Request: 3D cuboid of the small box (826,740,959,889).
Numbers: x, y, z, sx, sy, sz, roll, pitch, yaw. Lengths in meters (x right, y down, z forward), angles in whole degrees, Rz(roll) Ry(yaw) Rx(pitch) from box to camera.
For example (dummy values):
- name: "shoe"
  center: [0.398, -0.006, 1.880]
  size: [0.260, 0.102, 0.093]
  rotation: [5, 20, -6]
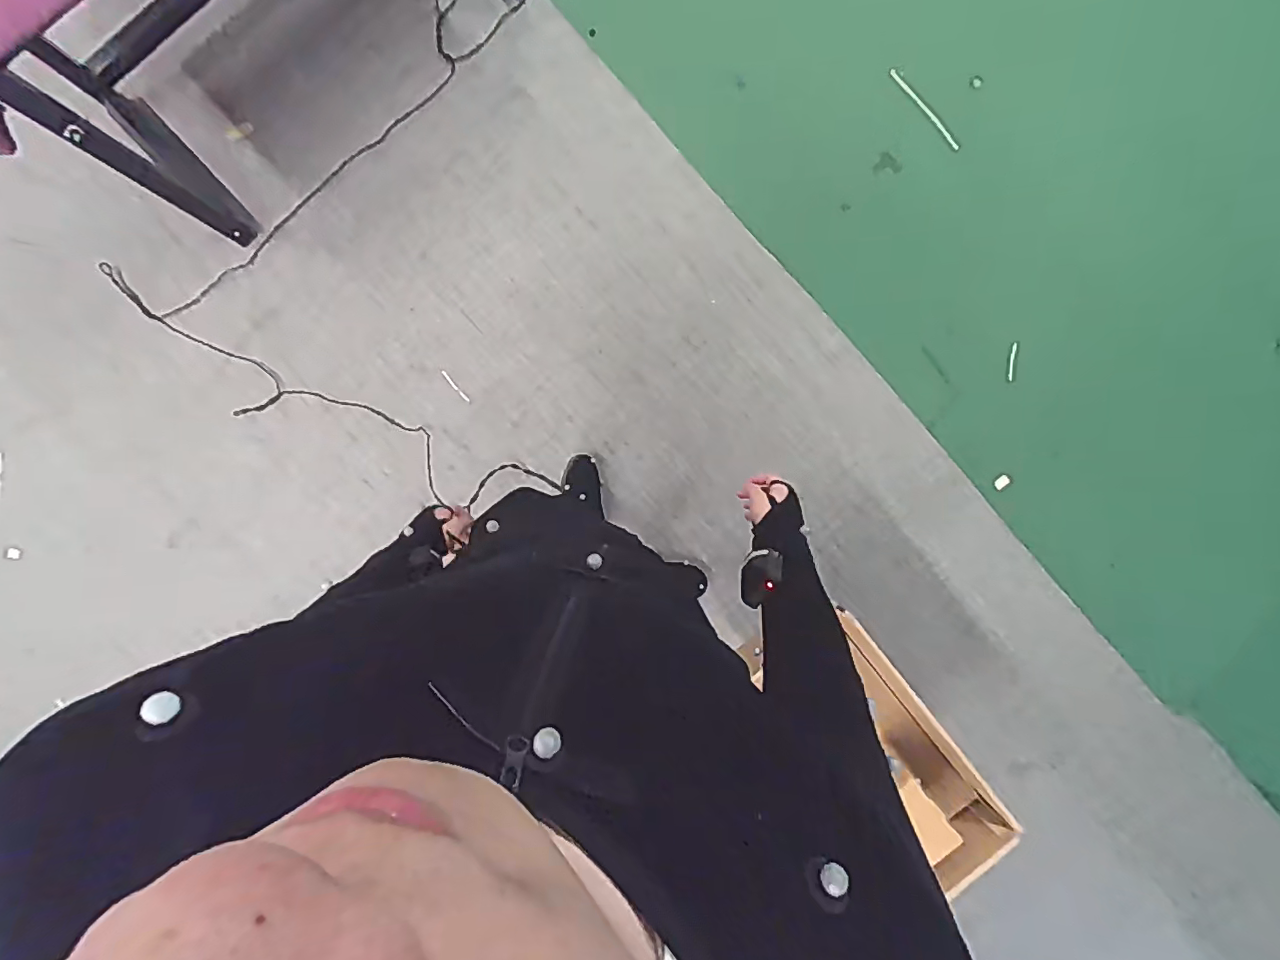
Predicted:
- name: "small box"
  center: [0.528, 0.711, 1.169]
  size: [0.179, 0.176, 0.168]
  rotation: [-39, 91, -1]
